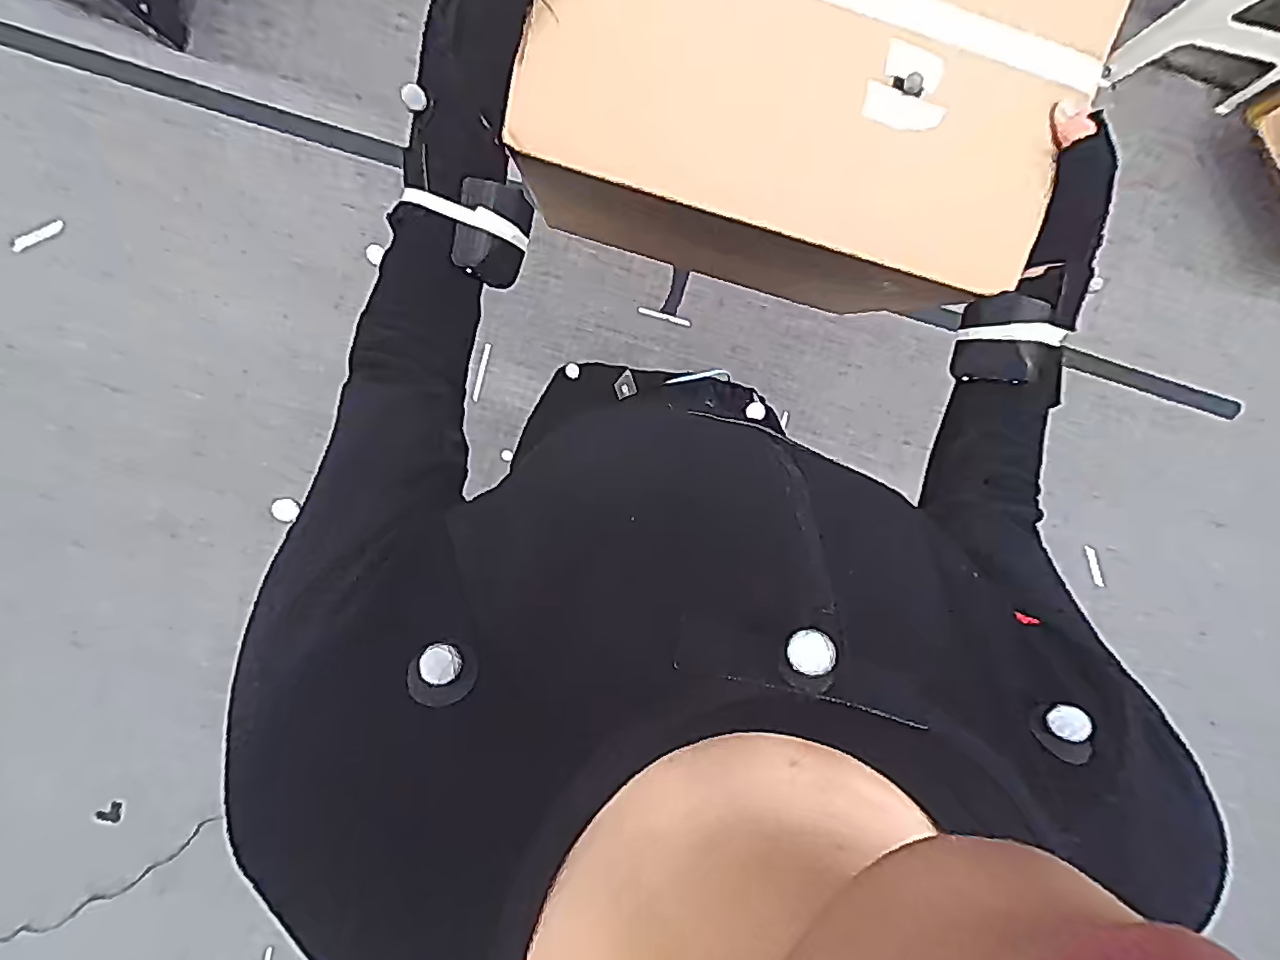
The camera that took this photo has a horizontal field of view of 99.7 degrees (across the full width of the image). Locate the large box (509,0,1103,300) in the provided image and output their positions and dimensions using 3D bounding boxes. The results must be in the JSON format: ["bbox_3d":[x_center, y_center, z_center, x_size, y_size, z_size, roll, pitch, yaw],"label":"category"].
[{"bbox_3d":[0.117,-0.384,0.521,0.408,0.320,0.320,13,105,-8],"label":"large box"}]
